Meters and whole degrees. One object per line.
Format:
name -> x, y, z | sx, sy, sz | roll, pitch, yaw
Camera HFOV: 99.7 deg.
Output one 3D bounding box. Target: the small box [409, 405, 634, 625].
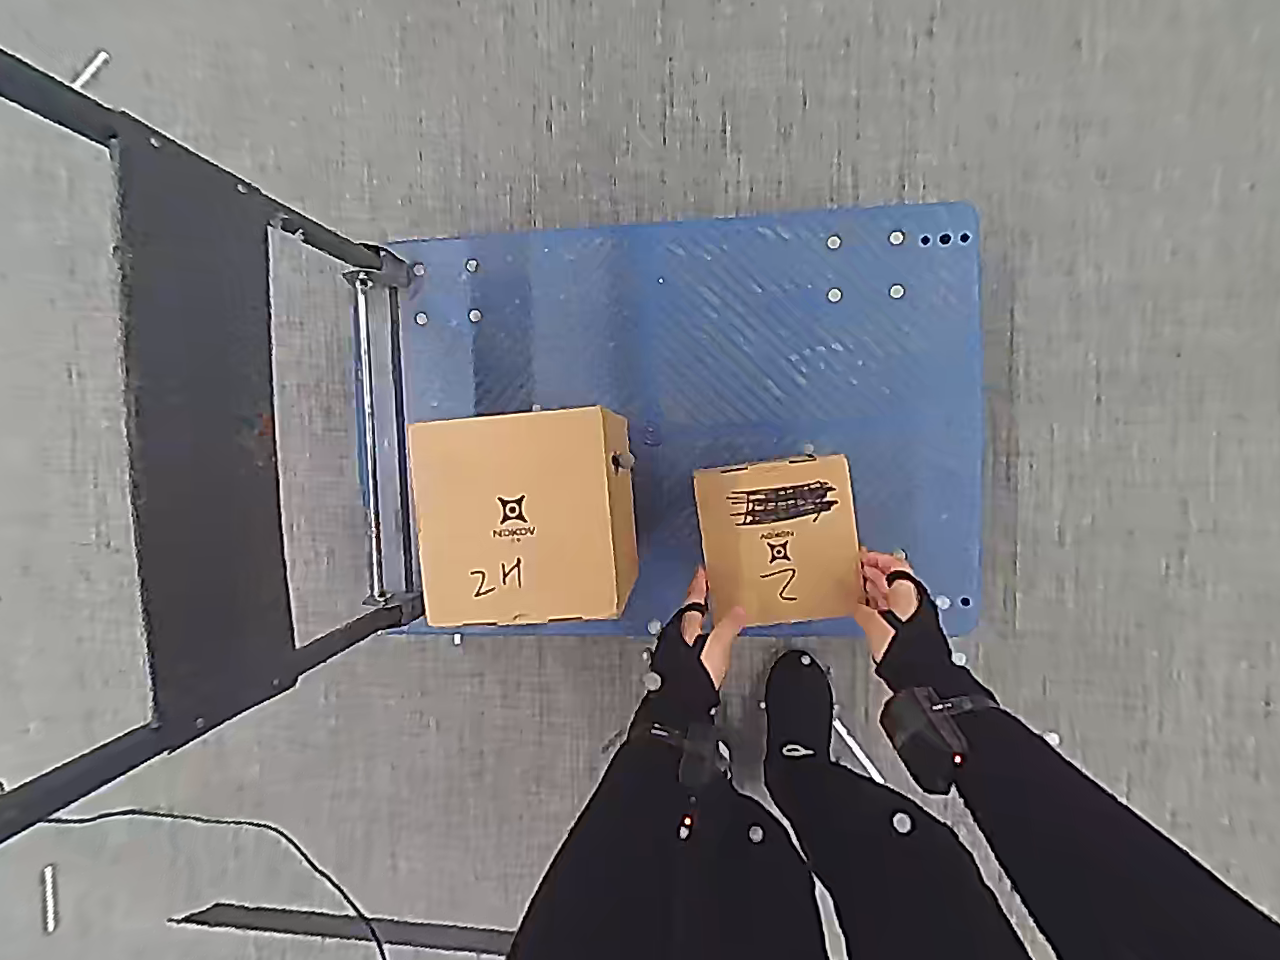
small box -> -0.099, 0.028, 0.524 | 0.168, 0.176, 0.179 | -4, 93, 6
